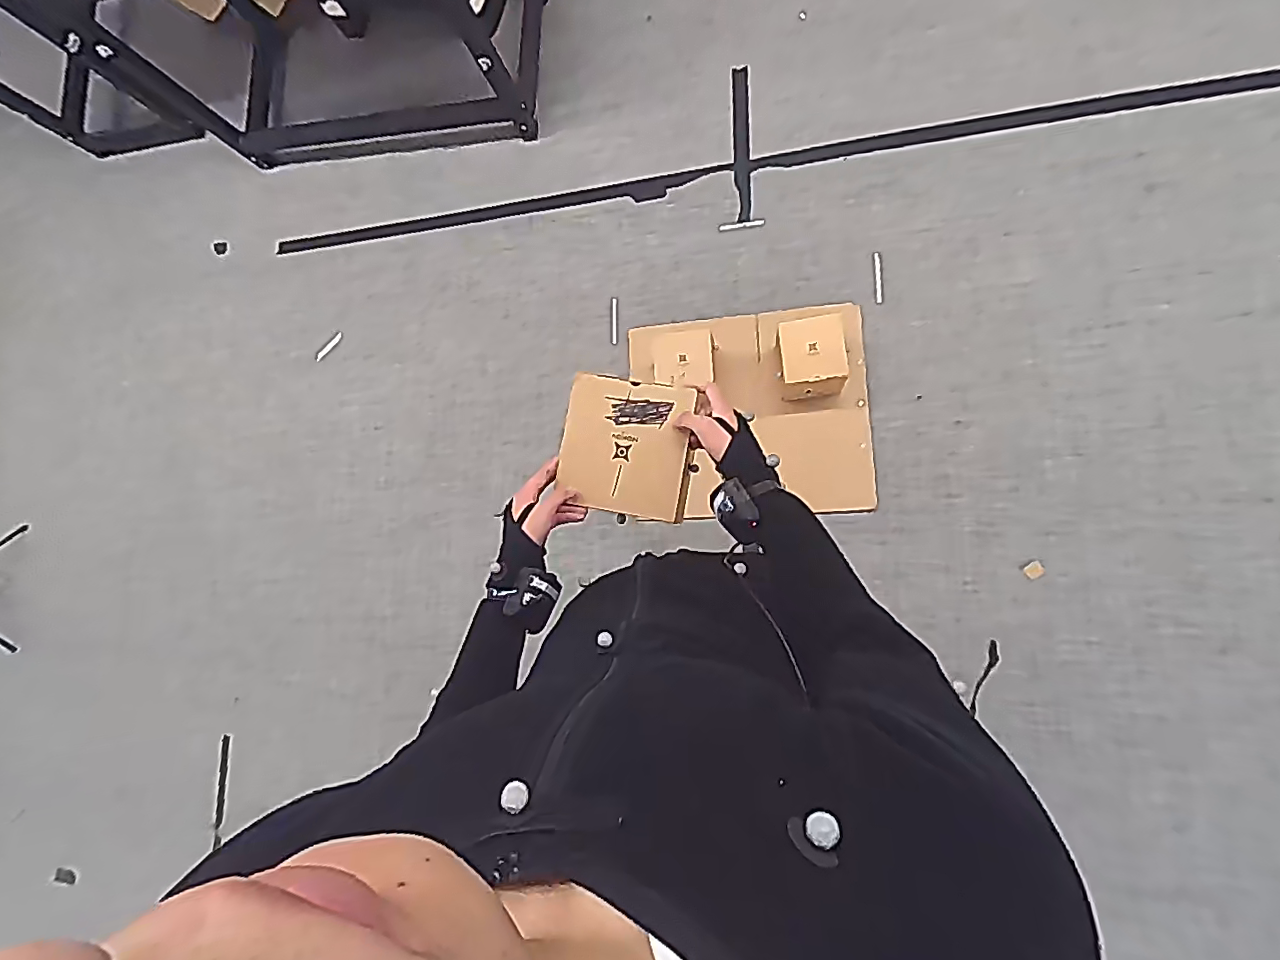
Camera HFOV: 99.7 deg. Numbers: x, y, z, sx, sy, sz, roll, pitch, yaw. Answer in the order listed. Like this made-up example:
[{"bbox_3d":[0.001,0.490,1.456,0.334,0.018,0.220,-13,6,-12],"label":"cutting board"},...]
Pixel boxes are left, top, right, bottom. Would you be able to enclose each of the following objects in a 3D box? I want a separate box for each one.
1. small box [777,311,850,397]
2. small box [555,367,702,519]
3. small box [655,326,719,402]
[{"bbox_3d":[0.476,-0.345,1.508,0.168,0.176,0.179,-7,83,12],"label":"small box"},{"bbox_3d":[-0.007,-0.044,0.773,0.168,0.176,0.179,10,88,9],"label":"small box"},{"bbox_3d":[0.140,-0.328,1.577,0.168,0.176,0.179,-4,84,13],"label":"small box"}]
